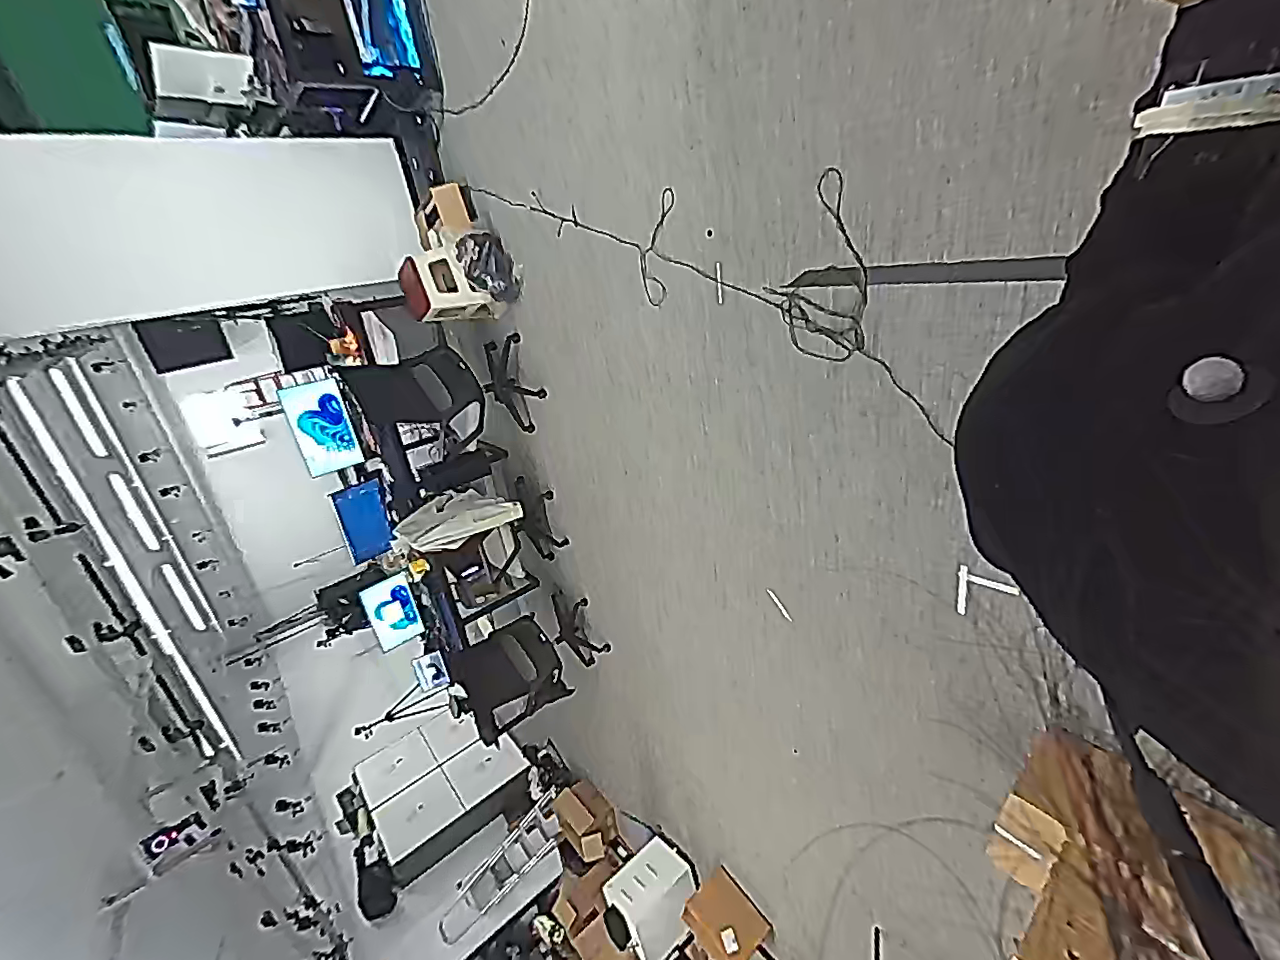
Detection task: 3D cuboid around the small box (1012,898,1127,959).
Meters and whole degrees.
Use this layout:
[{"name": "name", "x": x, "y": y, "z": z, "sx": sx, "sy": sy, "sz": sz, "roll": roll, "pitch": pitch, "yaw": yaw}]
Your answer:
[{"name": "small box", "x": 0.928, "y": 1.074, "z": 1.178, "sx": 0.168, "sy": 0.176, "sz": 0.179, "roll": 26, "pitch": 130, "yaw": 45}]
